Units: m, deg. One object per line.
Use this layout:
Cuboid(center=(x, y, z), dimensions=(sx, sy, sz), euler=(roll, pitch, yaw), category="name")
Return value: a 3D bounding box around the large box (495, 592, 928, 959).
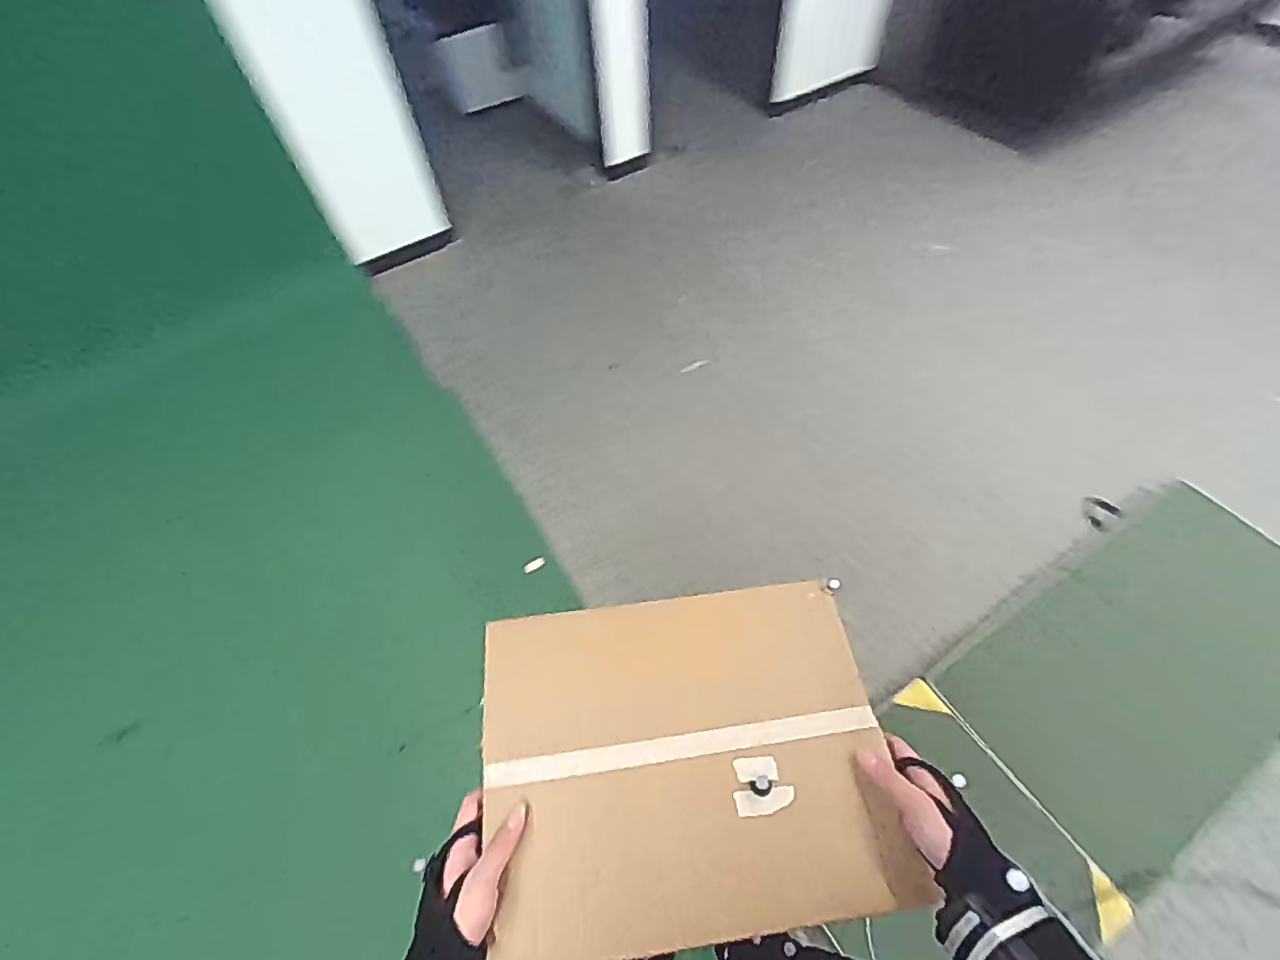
Cuboid(center=(0.048, 0.368, 0.682), dimensions=(0.408, 0.320, 0.320), euler=(-6, 57, -4), category="large box")
